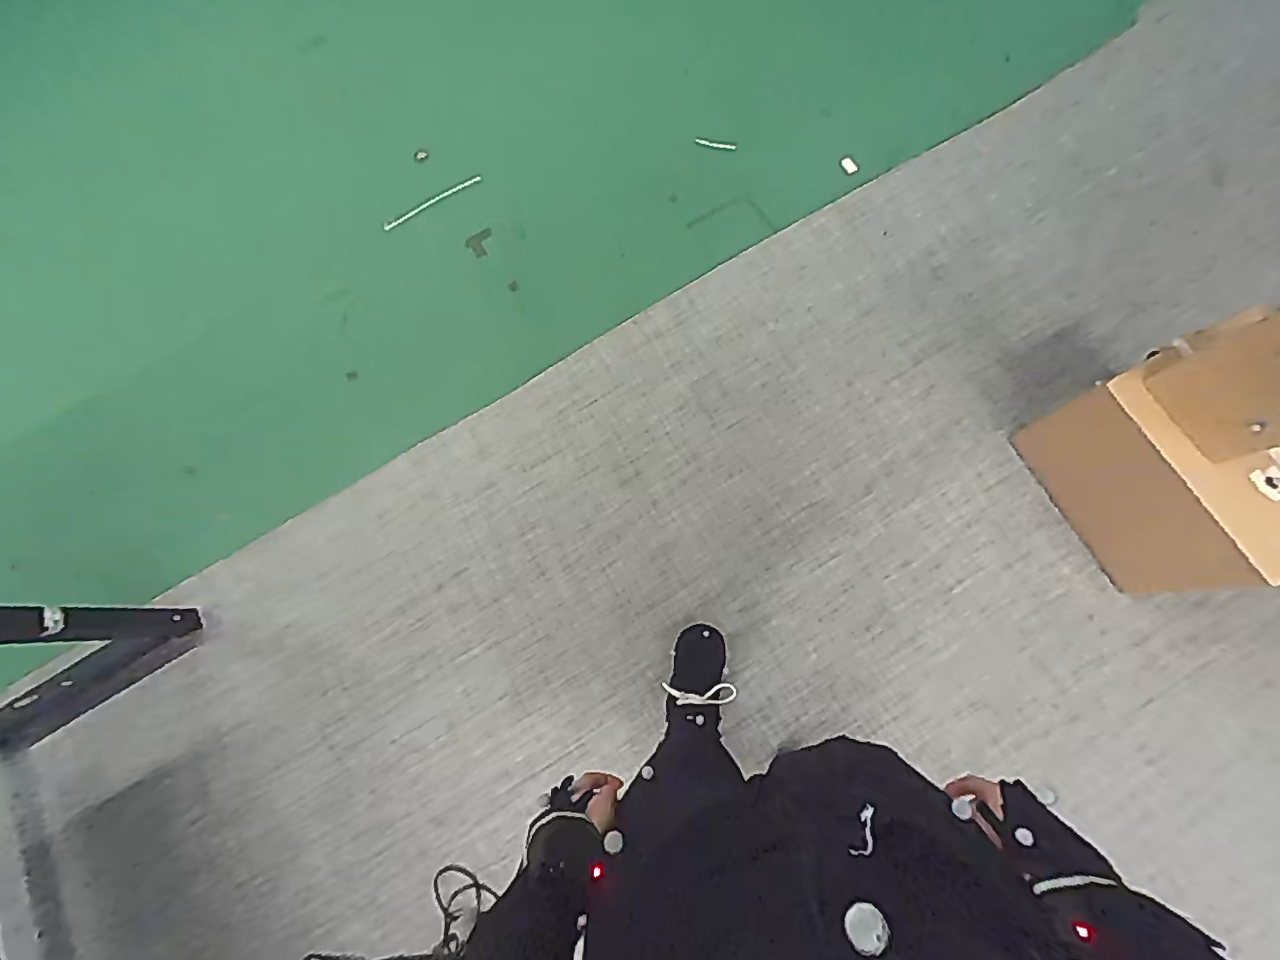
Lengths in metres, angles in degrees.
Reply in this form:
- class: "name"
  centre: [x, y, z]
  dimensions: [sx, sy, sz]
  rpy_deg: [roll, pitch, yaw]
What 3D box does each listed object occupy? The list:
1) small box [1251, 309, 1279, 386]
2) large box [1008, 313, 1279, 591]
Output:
- class: "small box"
  centre: [0.962, -0.192, 0.688]
  dimensions: [0.179, 0.176, 0.168]
  rpy_deg: [-24, 77, -2]
- class: "large box"
  centre: [1.053, -0.033, 1.061]
  dimensions: [0.320, 0.320, 0.408]
  rpy_deg: [-28, 76, -1]
